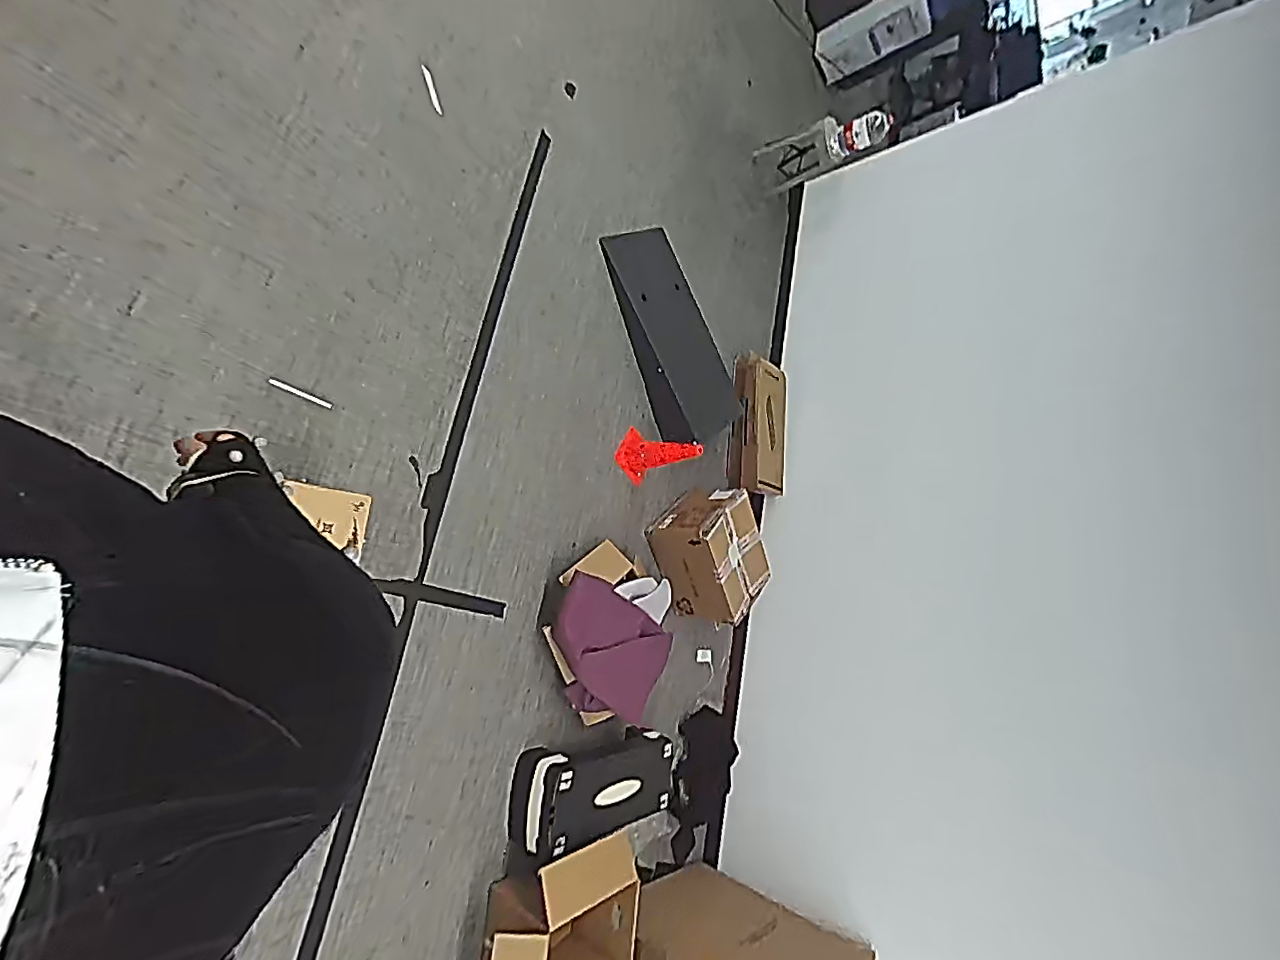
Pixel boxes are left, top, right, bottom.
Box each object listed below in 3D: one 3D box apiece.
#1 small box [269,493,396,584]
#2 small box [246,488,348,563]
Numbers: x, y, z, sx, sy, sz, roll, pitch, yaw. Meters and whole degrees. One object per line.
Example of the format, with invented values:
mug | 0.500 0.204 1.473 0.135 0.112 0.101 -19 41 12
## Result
small box | -0.653 0.128 1.147 0.179 0.176 0.168 18 74 -48
small box | -0.776 0.116 1.257 0.179 0.176 0.168 19 73 -47
